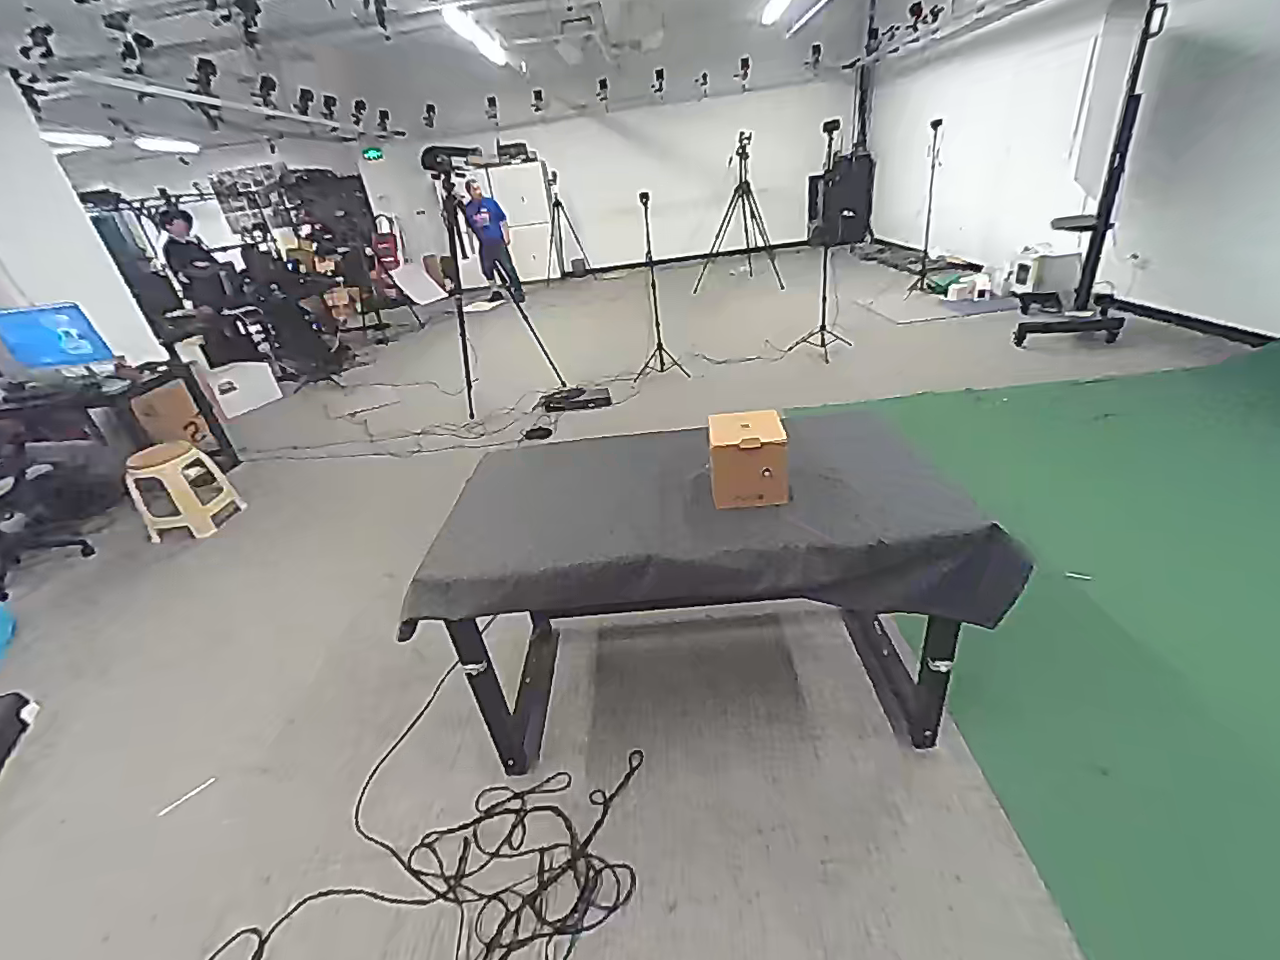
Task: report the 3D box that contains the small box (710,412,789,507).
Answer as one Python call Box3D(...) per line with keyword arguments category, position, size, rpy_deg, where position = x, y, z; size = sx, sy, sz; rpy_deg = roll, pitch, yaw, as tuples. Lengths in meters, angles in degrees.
Box3D(category="small box", position=(0.255, -0.046, 1.271), size=(0.168, 0.176, 0.179), rpy_deg=(-4, 28, 6))
